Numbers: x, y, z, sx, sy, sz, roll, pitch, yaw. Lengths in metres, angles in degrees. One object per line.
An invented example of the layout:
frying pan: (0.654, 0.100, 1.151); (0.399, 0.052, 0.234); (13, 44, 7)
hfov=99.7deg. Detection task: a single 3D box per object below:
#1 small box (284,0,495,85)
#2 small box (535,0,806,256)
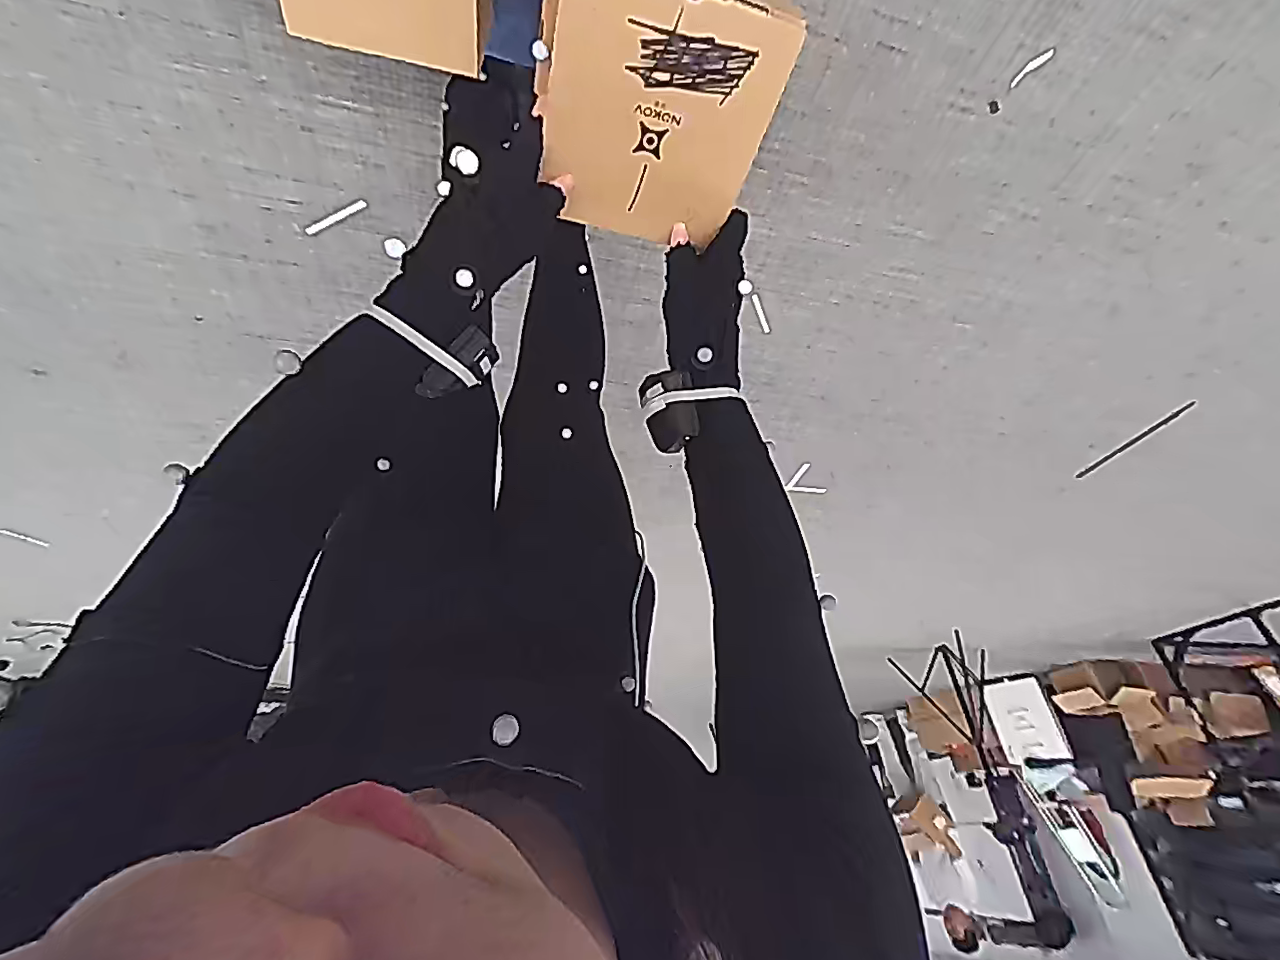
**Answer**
small box: (-0.218, -0.504, 0.483); (0.168, 0.176, 0.179); (4, 144, -13)
small box: (0.008, -0.330, 0.456); (0.168, 0.176, 0.179); (7, 144, -15)
